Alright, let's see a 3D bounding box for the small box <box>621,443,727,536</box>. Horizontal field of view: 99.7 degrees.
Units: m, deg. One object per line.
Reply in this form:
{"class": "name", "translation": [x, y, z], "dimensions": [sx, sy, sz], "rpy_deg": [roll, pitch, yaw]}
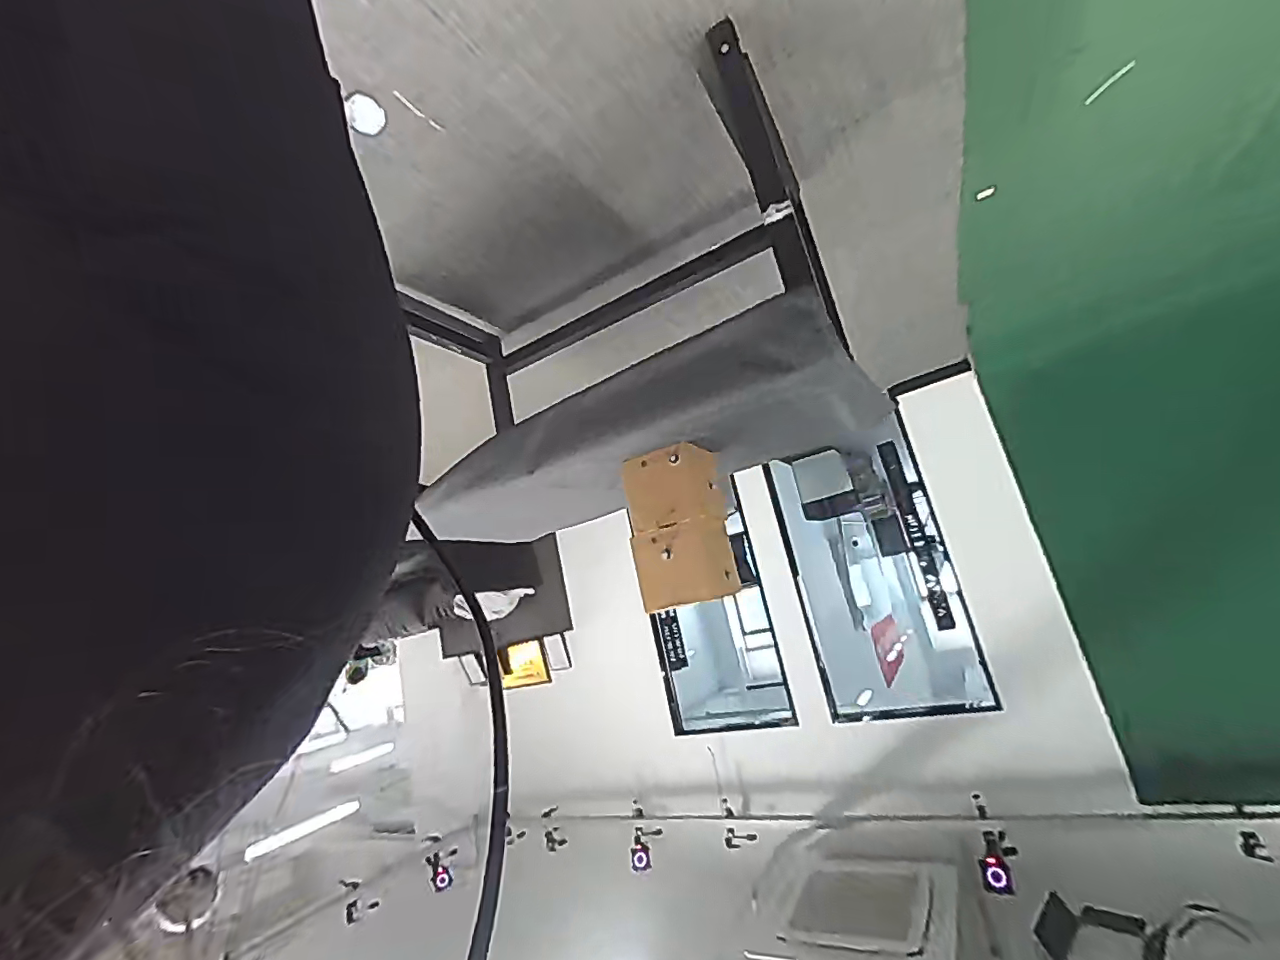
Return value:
{"class": "small box", "translation": [0.075, 0.025, 1.219], "dimensions": [0.168, 0.176, 0.179], "rpy_deg": [-18, 167, 24]}

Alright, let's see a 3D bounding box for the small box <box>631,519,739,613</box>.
{"class": "small box", "translation": [0.101, 0.187, 1.197], "dimensions": [0.168, 0.176, 0.179], "rpy_deg": [-20, 166, 26]}
